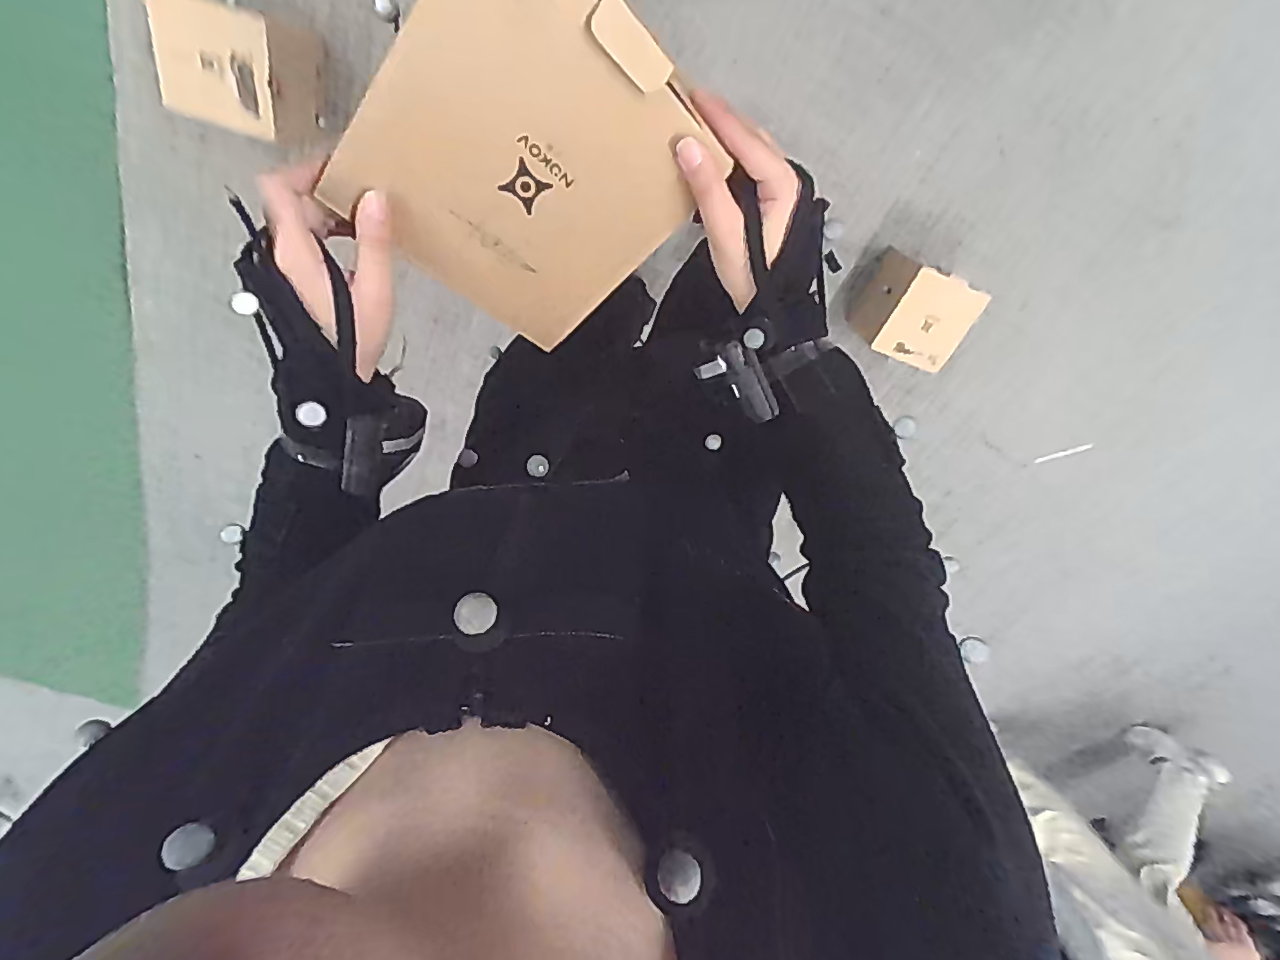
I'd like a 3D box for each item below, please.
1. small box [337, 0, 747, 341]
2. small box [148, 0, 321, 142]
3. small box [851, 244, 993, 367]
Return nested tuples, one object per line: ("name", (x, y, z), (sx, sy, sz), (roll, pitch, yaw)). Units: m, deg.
("small box", (-0.062, -0.236, 0.353), (0.179, 0.176, 0.168), (-35, 135, 30))
("small box", (-0.661, -0.694, 0.911), (0.179, 0.176, 0.168), (14, 123, -8))
("small box", (0.572, -0.369, 1.128), (0.168, 0.176, 0.179), (17, 122, -12))
